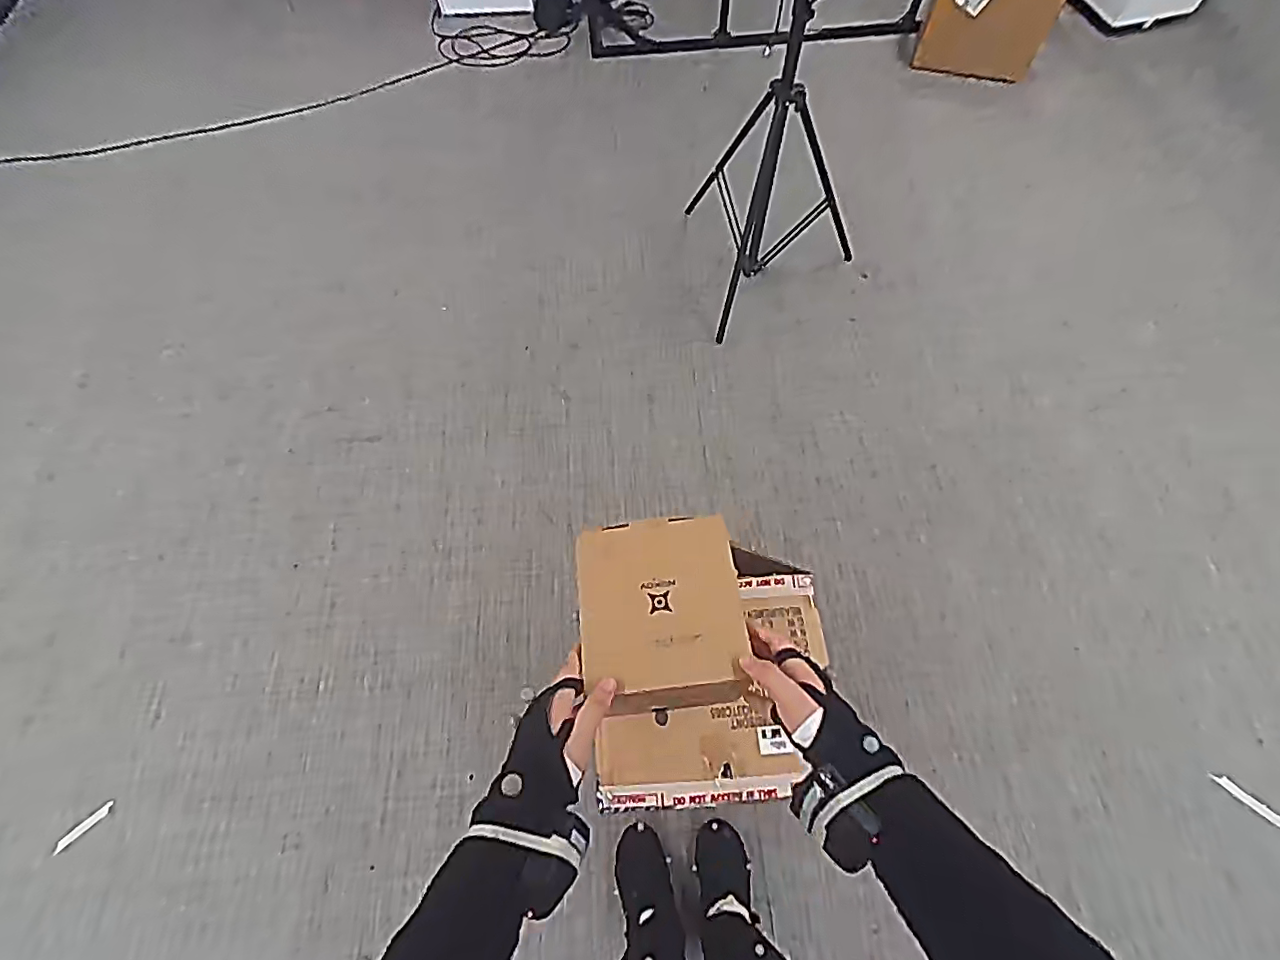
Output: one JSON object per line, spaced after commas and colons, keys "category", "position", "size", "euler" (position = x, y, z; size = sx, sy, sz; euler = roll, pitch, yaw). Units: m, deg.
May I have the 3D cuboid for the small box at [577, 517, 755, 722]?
{"category": "small box", "position": [0.024, 0.165, 0.623], "size": [0.168, 0.176, 0.179], "euler": [-9, 59, 0]}
